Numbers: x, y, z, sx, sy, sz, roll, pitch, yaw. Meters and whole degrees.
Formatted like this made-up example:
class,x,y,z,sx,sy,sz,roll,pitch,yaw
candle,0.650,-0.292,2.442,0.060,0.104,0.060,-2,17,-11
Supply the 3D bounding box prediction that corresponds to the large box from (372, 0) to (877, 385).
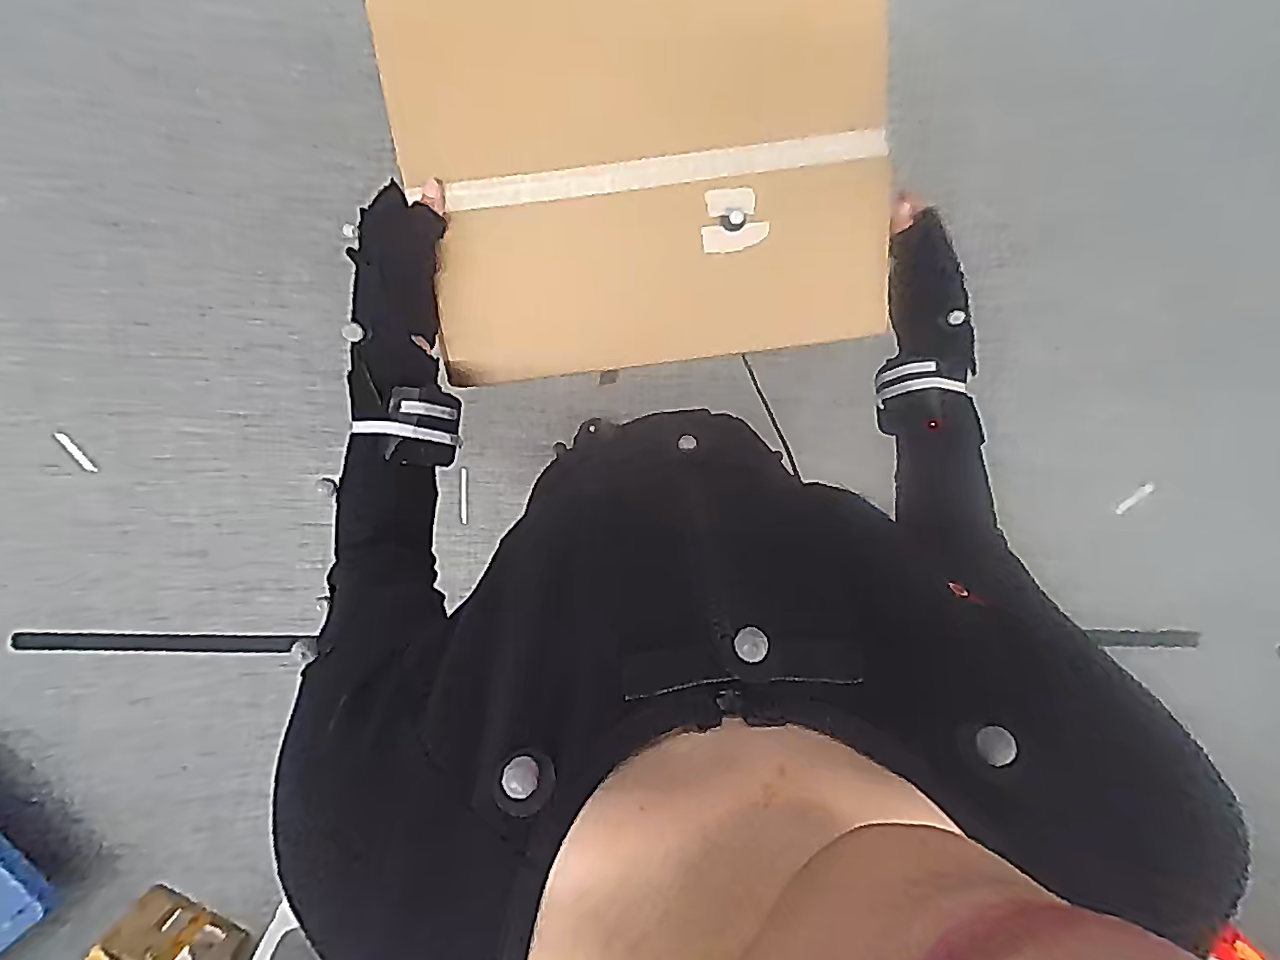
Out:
class,x,y,z,sx,sy,sz,roll,pitch,yaw
large box,-0.005,-0.301,0.606,0.408,0.320,0.320,-8,106,-2
